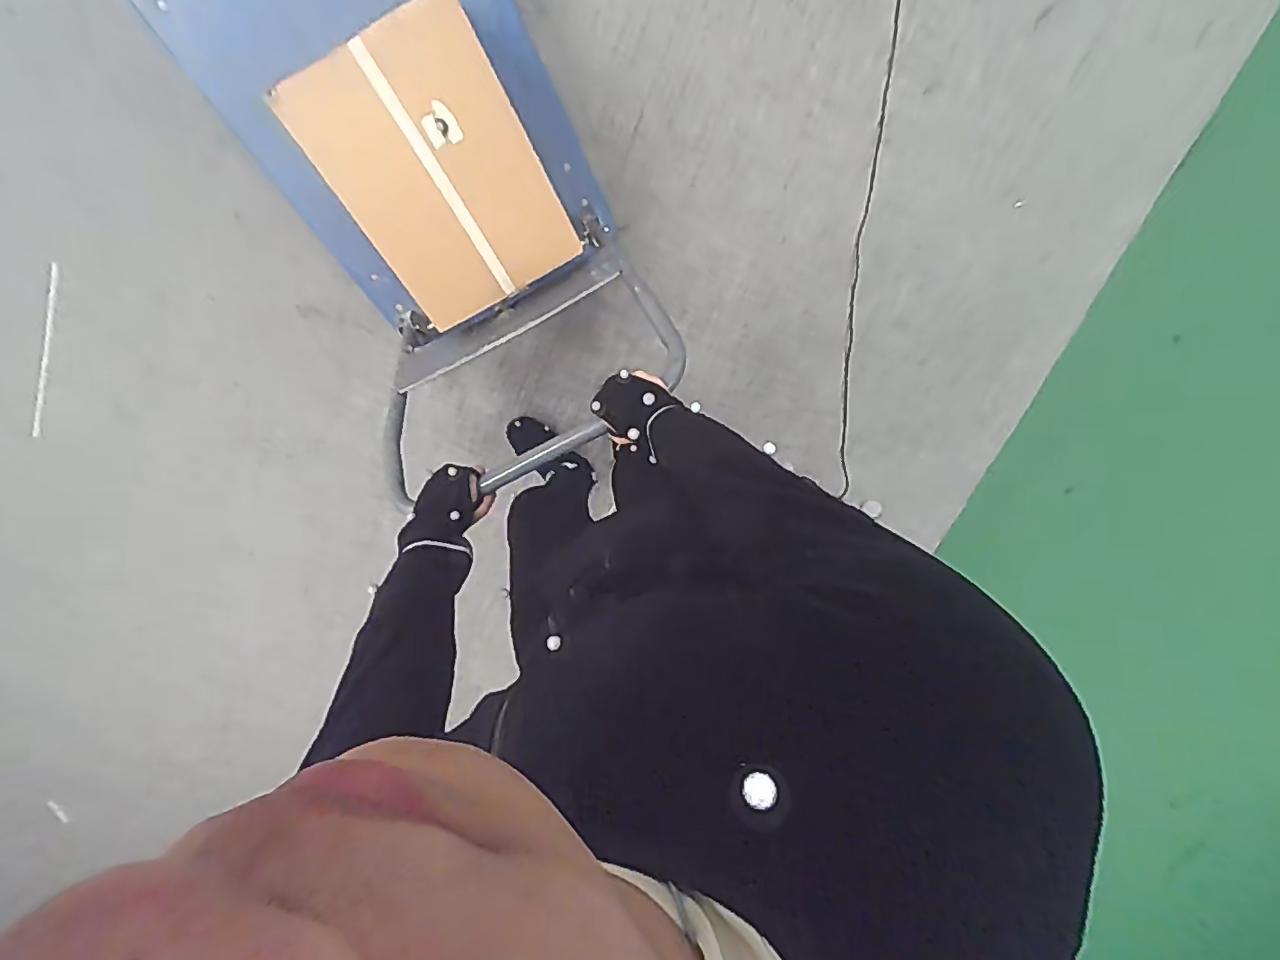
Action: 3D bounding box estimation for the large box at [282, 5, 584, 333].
[{"bbox_3d":[-0.348,-0.566,1.027,0.320,0.320,0.408,-27,127,4],"label":"large box"}]
